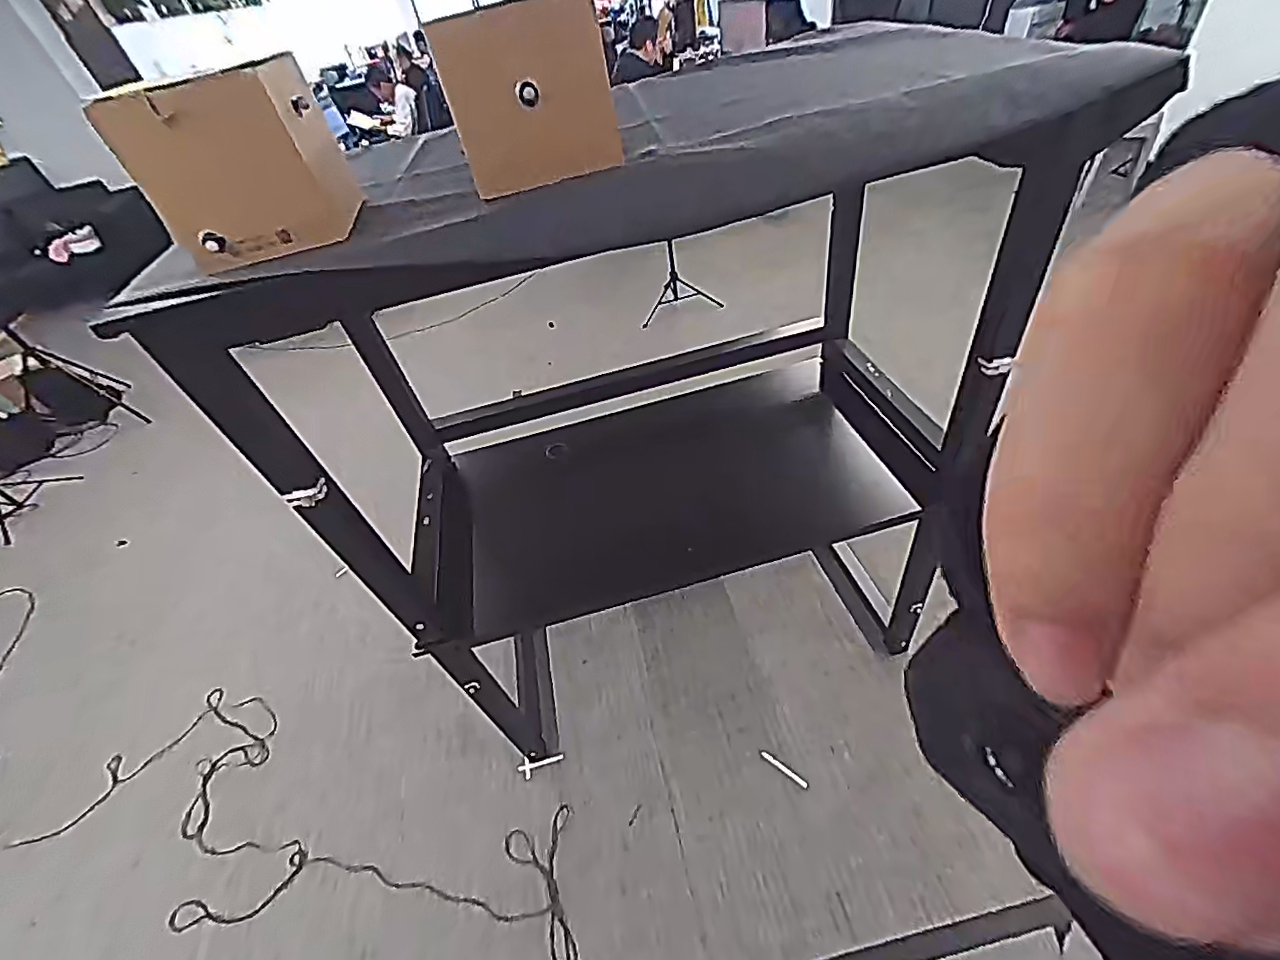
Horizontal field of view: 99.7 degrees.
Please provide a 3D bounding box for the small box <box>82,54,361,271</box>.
[{"bbox_3d":[-0.449,-0.360,0.622,0.168,0.176,0.179,-16,44,-4],"label":"small box"}]
